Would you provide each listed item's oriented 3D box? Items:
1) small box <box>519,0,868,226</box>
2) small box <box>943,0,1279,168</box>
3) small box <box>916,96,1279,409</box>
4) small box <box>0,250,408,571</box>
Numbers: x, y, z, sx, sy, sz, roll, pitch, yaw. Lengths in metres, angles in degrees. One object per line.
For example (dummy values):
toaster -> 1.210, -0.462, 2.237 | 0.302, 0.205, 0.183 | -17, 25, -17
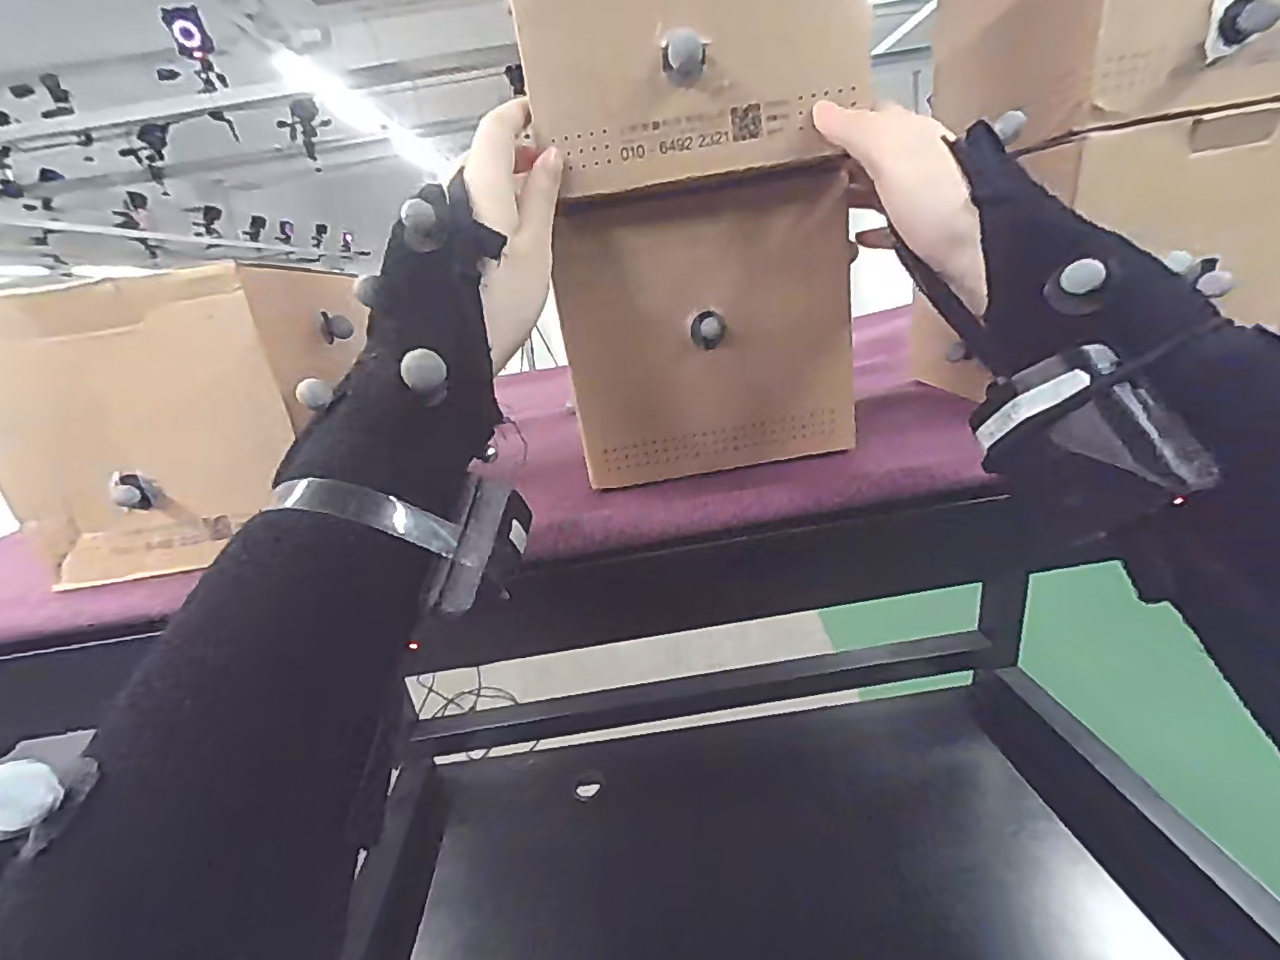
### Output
small box -> 0.023, -0.260, 0.325 | 0.168, 0.176, 0.179 | -9, 19, 2
small box -> 0.312, -0.307, 0.338 | 0.168, 0.176, 0.179 | -9, 21, 4
small box -> 0.326, -0.155, 0.396 | 0.168, 0.176, 0.179 | -9, 21, 1
small box -> -0.282, -0.056, 0.381 | 0.168, 0.176, 0.179 | -9, 19, -4
